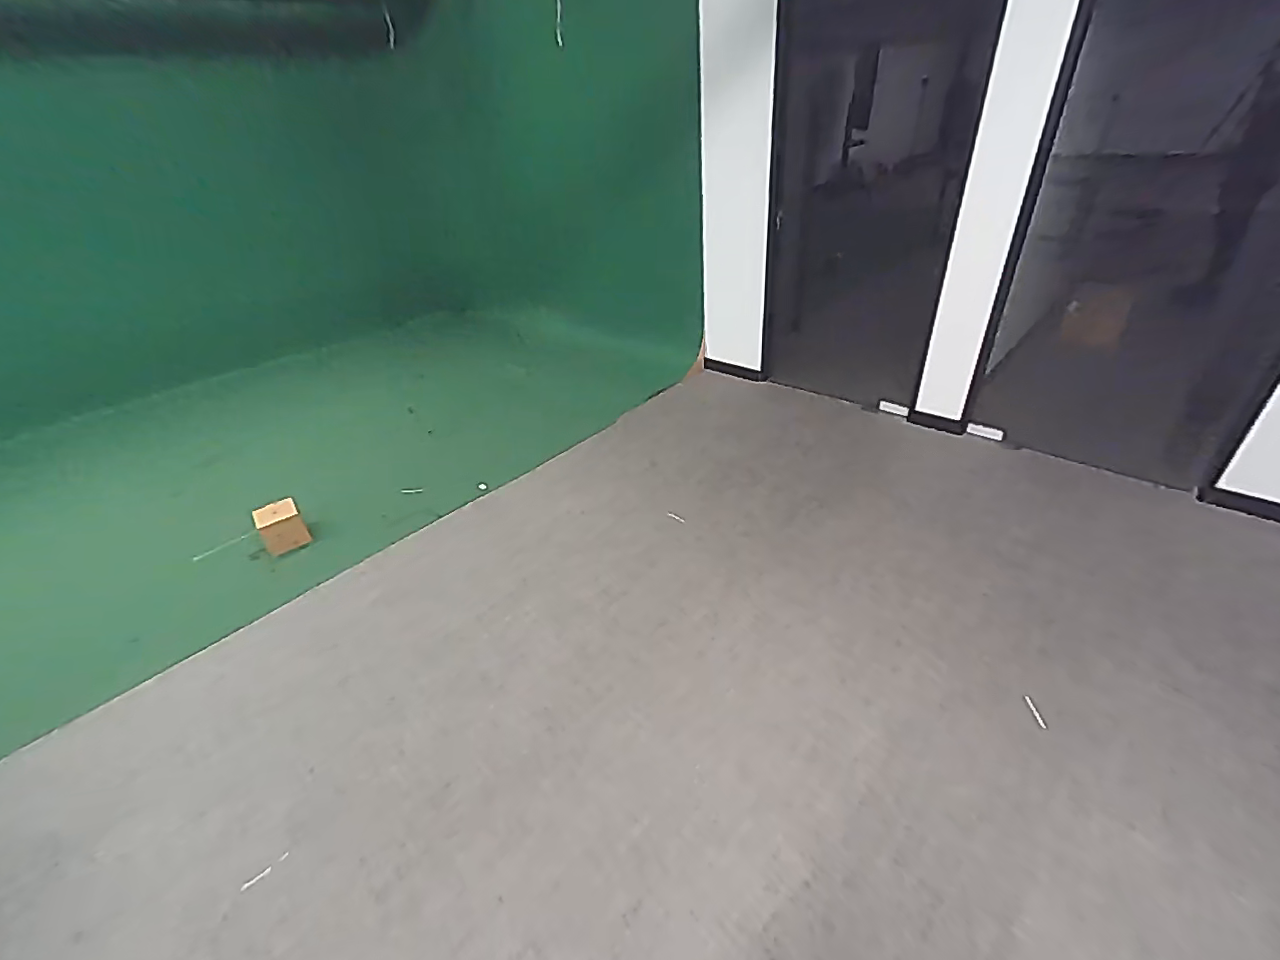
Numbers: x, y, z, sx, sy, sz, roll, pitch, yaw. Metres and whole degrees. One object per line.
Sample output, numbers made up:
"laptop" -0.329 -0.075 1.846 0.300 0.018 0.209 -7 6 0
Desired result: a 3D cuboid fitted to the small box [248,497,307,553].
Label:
"small box" -1.656 0.211 2.476 0.168 0.176 0.179 -27 40 -29
